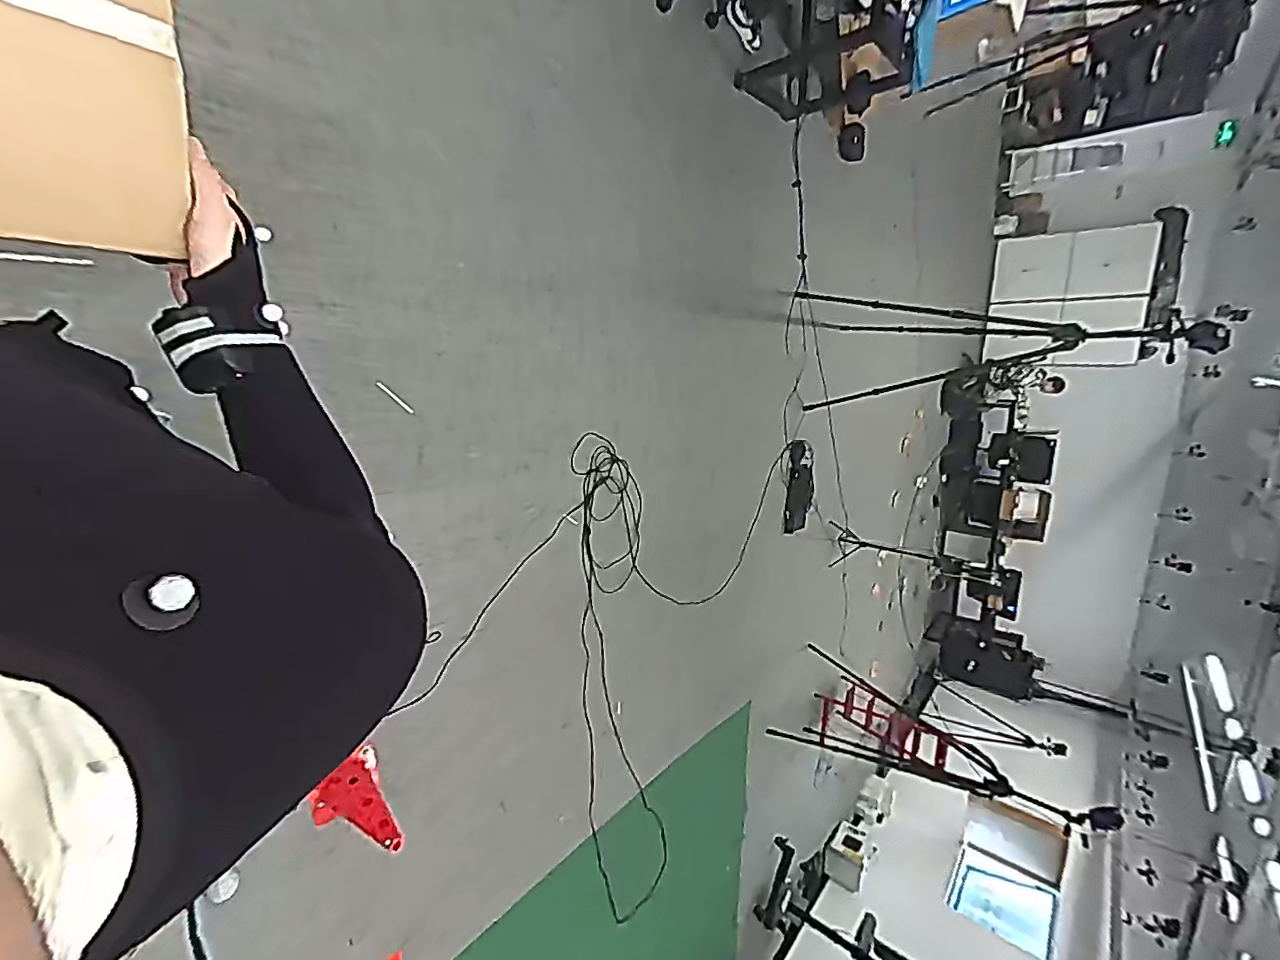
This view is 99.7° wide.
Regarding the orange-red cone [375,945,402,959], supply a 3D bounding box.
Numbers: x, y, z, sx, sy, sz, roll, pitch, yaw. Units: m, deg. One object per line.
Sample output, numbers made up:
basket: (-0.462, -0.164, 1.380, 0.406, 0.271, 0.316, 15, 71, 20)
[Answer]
orange-red cone: (-0.809, 1.803, 1.800, 0.199, 0.360, 0.198, -3, 101, -51)
